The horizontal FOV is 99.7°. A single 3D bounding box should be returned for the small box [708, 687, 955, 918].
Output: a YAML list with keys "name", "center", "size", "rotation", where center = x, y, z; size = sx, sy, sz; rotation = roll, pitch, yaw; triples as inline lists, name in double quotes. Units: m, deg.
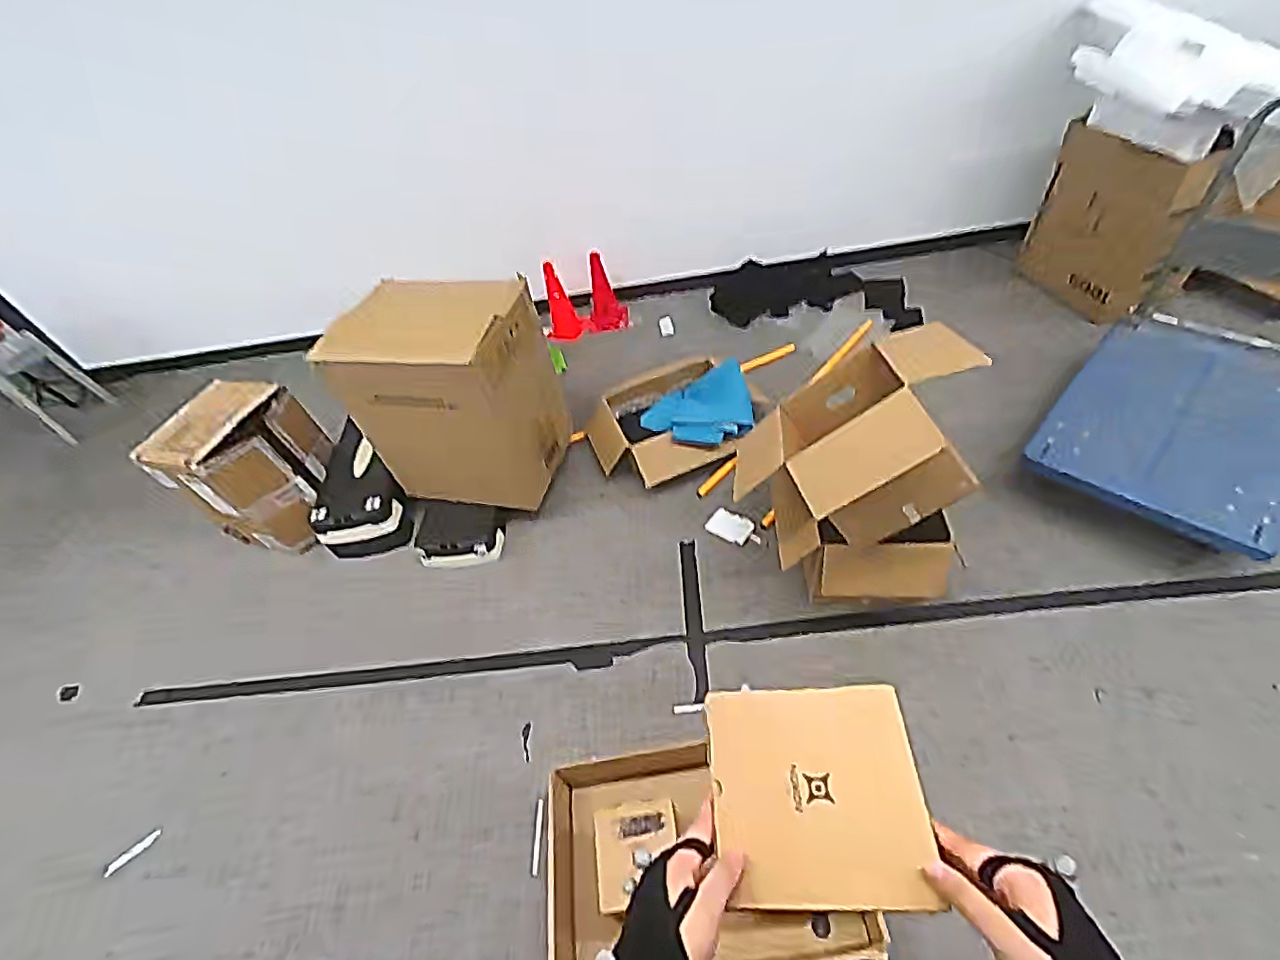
- name: "small box"
  center: [0.162, 0.305, 0.517]
  size: [0.179, 0.176, 0.168]
  rotation: [-6, 53, 10]
